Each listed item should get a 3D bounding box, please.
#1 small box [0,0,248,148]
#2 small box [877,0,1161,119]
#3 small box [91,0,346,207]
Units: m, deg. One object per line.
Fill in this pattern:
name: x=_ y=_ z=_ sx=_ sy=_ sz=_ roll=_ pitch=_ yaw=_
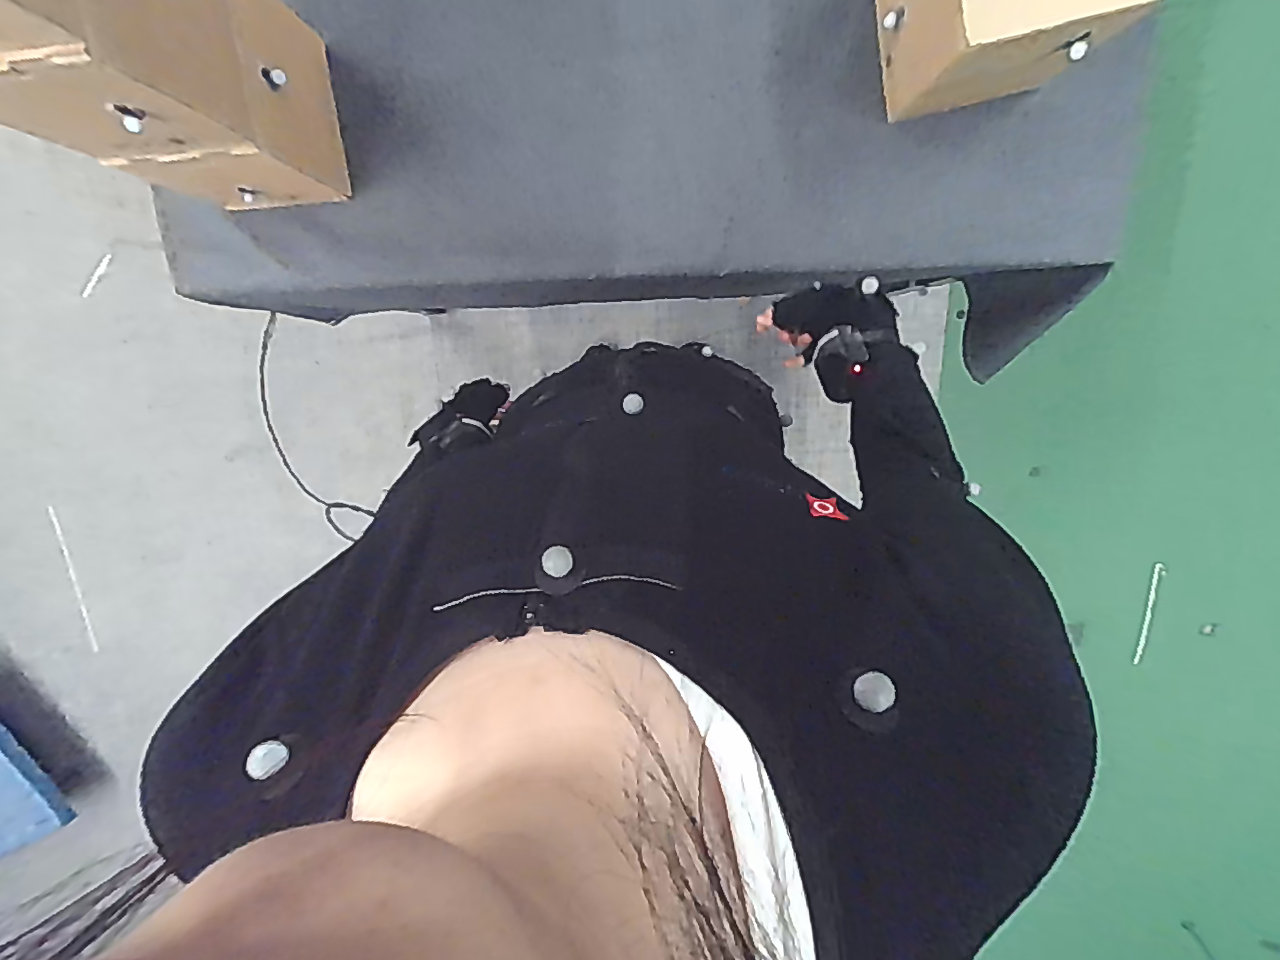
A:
small box: x=-0.453 y=-0.381 z=0.423 sx=0.168 sy=0.176 sz=0.179 roll=-3 pitch=103 yaw=1
small box: x=0.359 y=-0.497 z=0.537 sx=0.179 sy=0.176 sz=0.168 roll=-11 pitch=103 yaw=5
small box: x=-0.452 y=-0.415 z=0.583 sx=0.168 sy=0.176 sz=0.179 roll=-4 pitch=104 yaw=2
